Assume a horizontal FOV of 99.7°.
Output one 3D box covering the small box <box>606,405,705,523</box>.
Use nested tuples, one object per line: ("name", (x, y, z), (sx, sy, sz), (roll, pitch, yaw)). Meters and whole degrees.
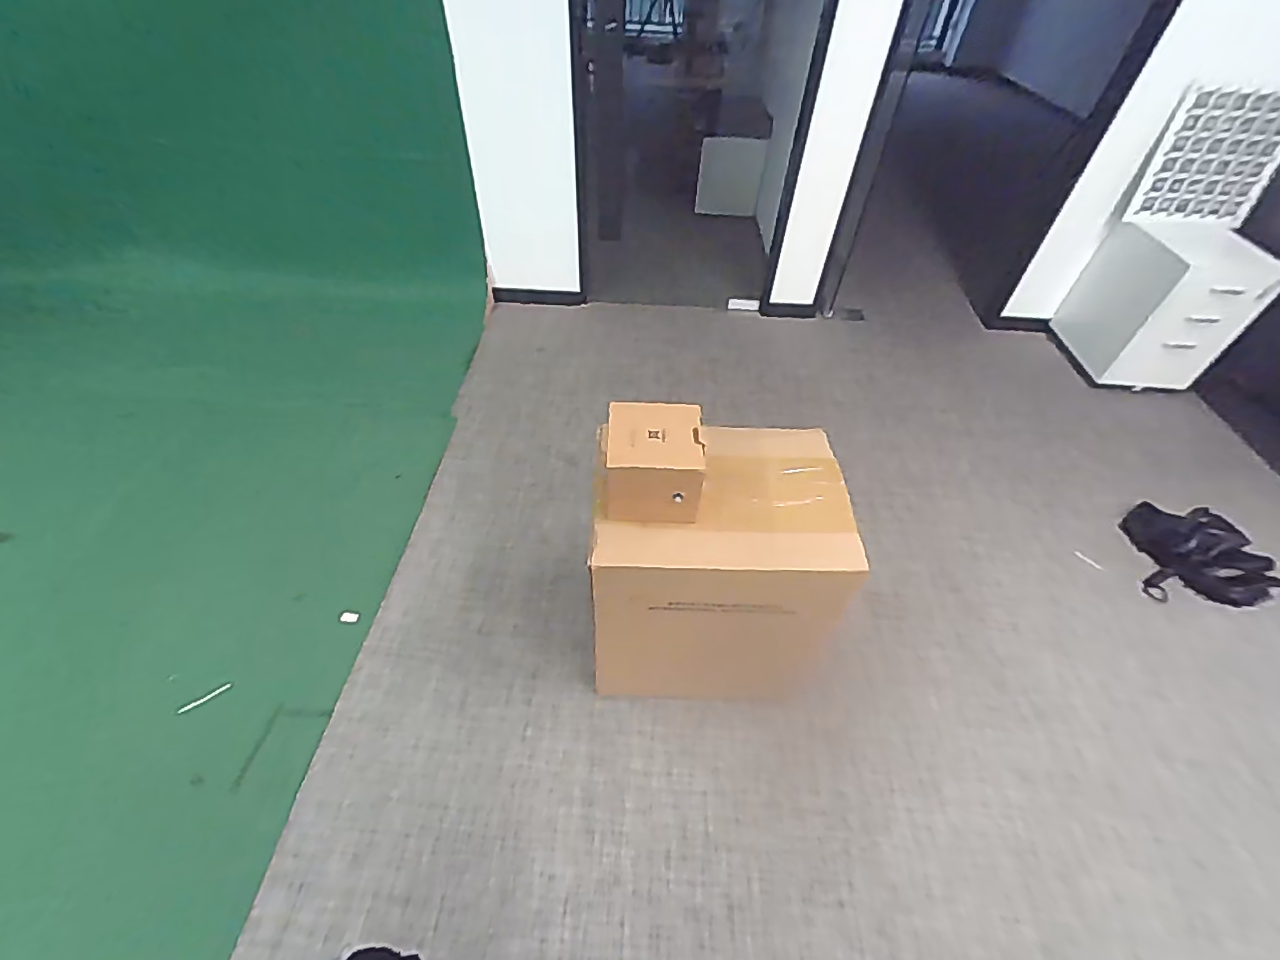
("small box", (0.026, -0.027, 1.055), (0.179, 0.176, 0.168), (0, 51, -1))
